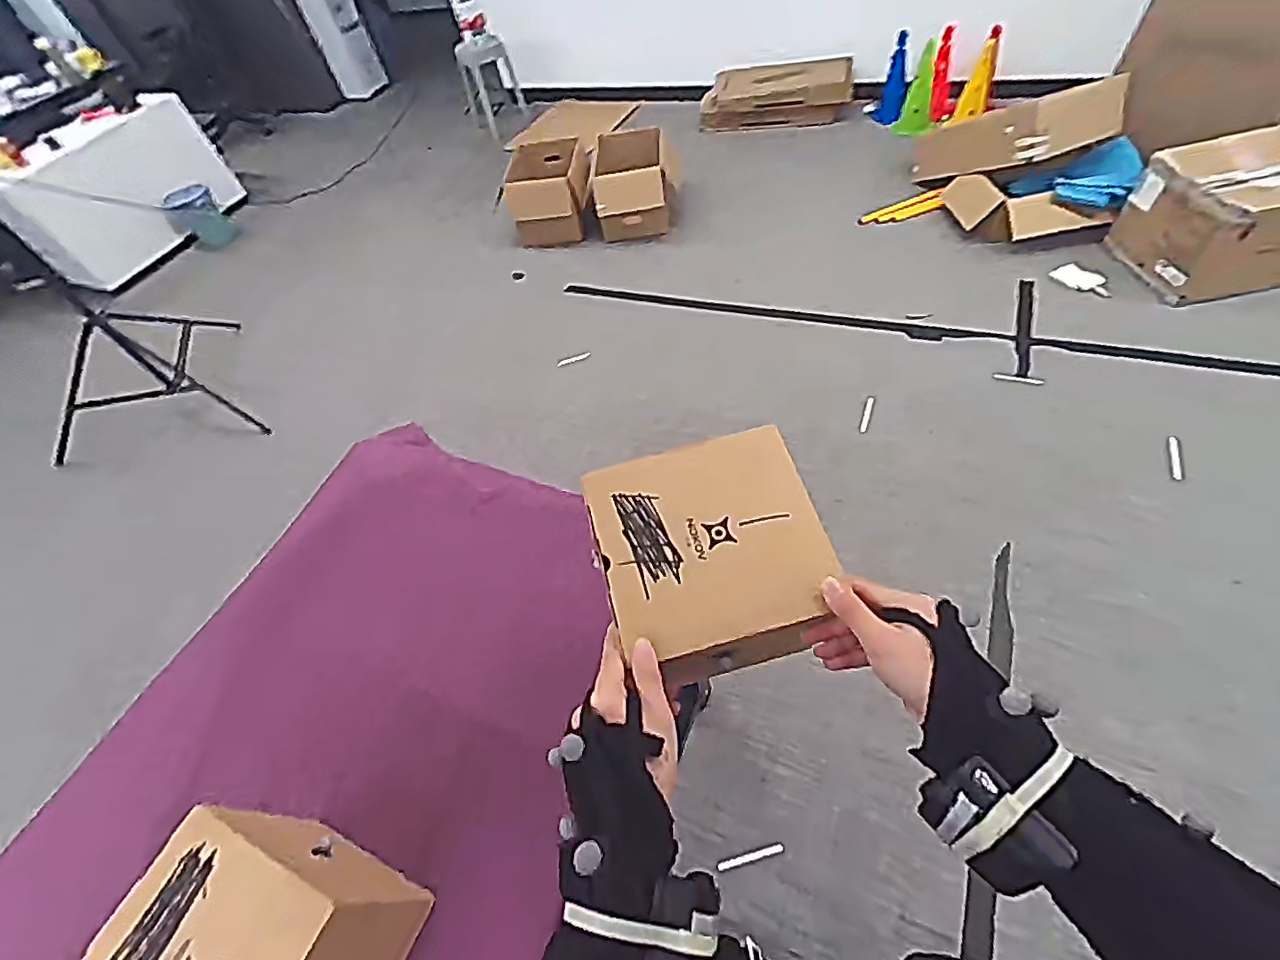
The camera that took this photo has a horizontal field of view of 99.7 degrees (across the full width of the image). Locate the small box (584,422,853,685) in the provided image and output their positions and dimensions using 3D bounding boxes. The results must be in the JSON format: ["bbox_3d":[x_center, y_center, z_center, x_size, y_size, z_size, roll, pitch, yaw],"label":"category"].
[{"bbox_3d":[0.060,0.077,0.495,0.179,0.176,0.168,-14,62,-4],"label":"small box"}]
